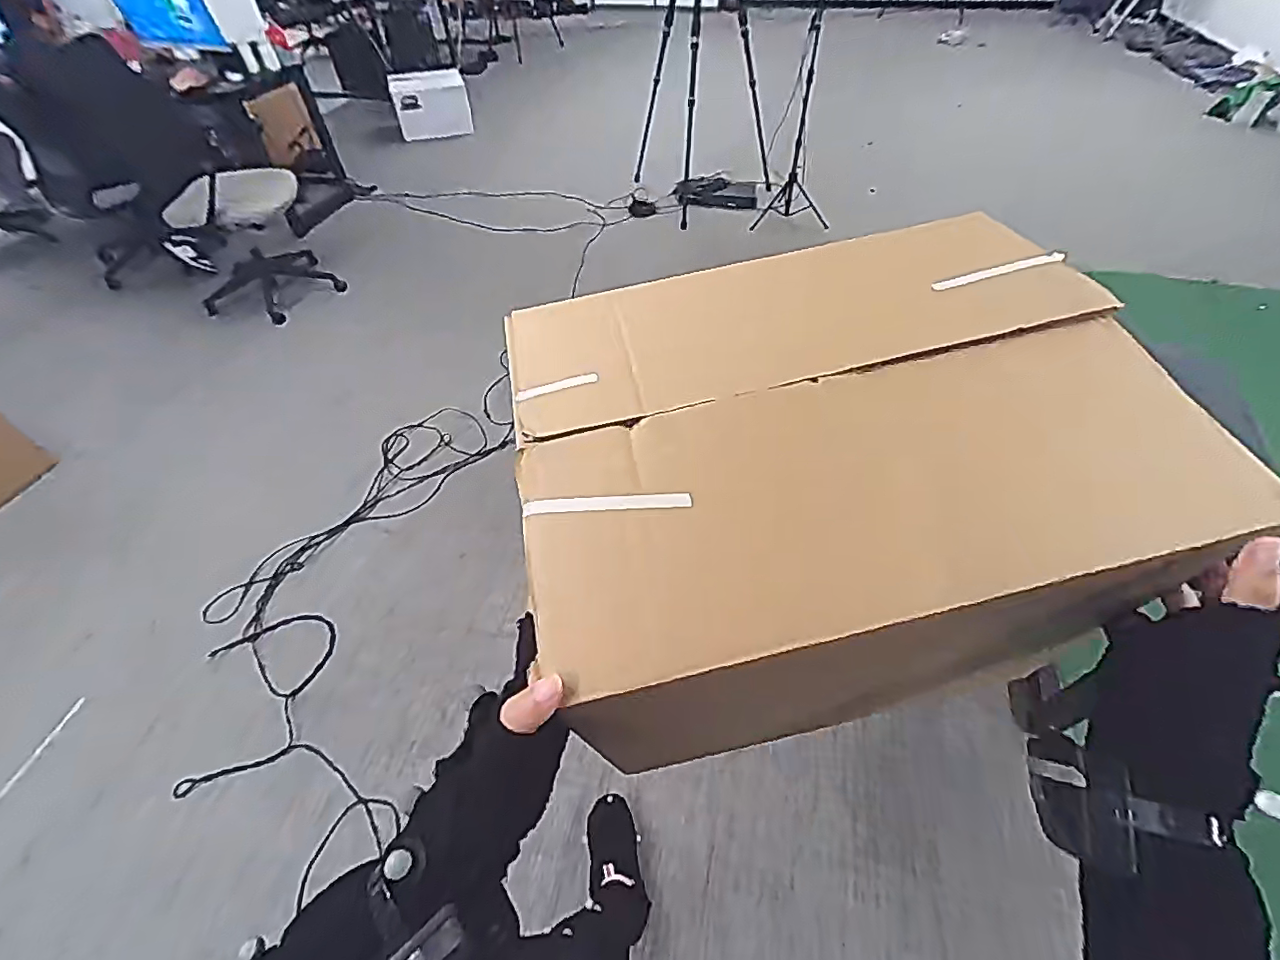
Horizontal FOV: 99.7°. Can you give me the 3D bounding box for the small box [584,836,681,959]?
[{"bbox_3d":[-0.017,0.853,1.105,0.168,0.176,0.179,10,62,-1],"label":"small box"}]
